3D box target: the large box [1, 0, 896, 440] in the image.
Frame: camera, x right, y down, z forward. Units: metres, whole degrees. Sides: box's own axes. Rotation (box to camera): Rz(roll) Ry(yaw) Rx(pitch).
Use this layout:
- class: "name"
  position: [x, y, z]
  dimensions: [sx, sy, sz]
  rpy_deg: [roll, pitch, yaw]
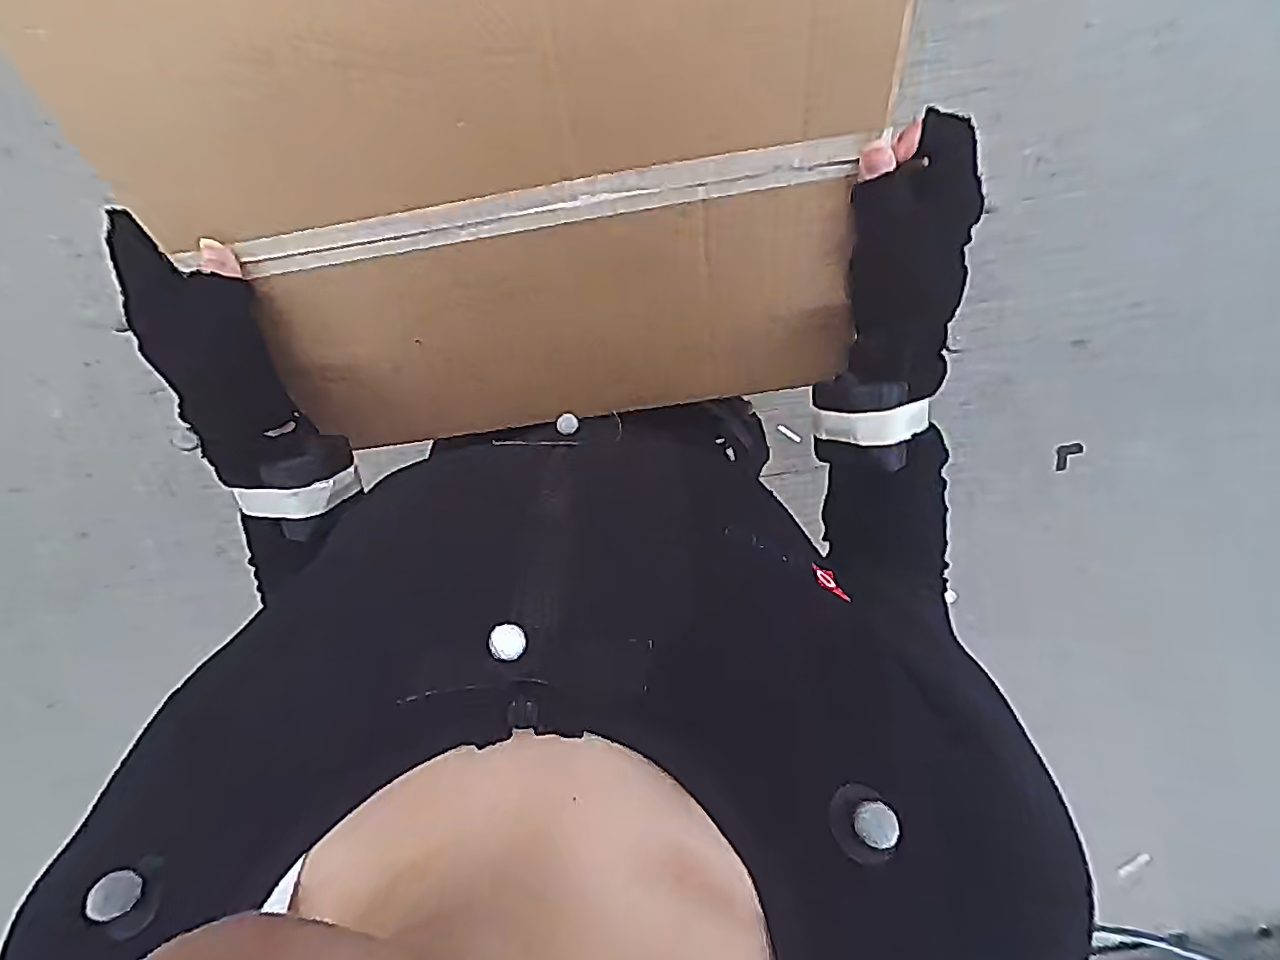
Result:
- class: "large box"
  position: [-0.077, -0.269, 0.410]
  dimensions: [0.408, 0.320, 0.320]
  rpy_deg: [-8, 139, 4]
